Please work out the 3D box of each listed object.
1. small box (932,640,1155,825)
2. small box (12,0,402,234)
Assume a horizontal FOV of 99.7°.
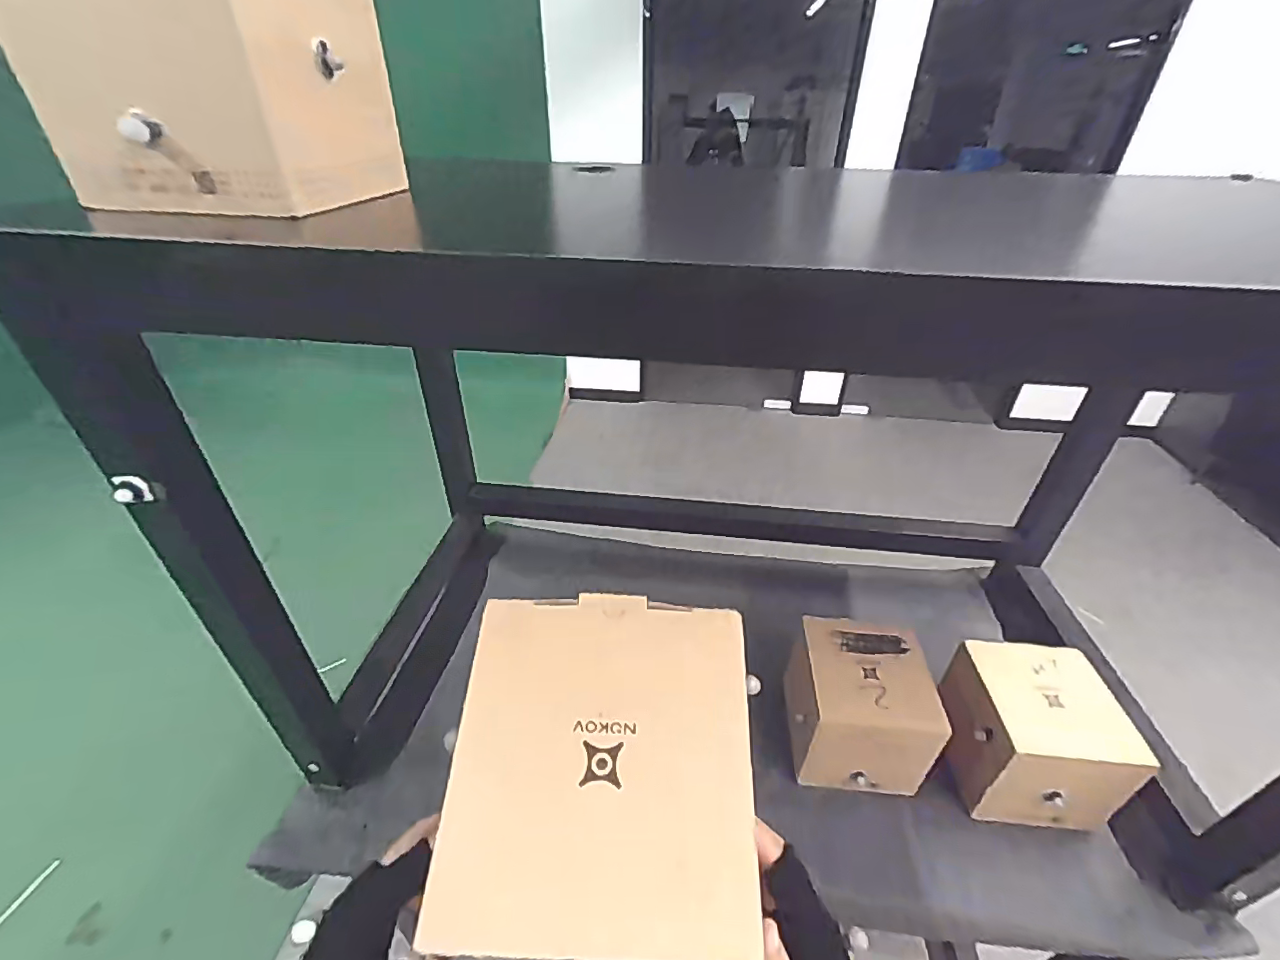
[{"bbox_3d":[0.546,0.356,0.766,0.168,0.176,0.179,4,34,4],"label":"small box"},{"bbox_3d":[-0.304,-0.298,0.412,0.168,0.176,0.179,4,36,4],"label":"small box"}]
